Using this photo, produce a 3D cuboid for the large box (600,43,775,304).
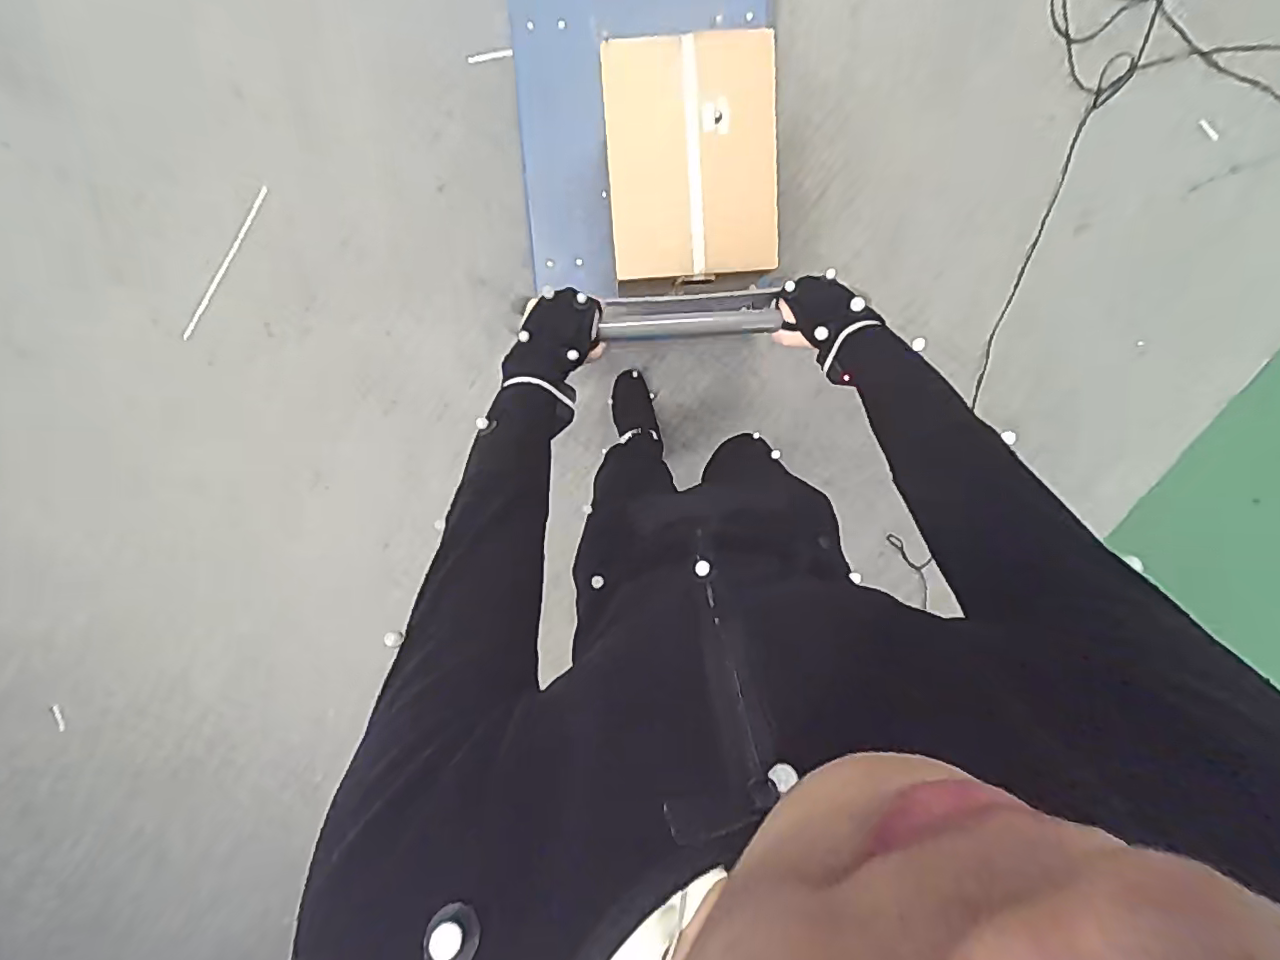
[{"bbox_3d":[0.092,-0.617,1.166,0.320,0.320,0.408,-4,101,-1],"label":"large box"}]
